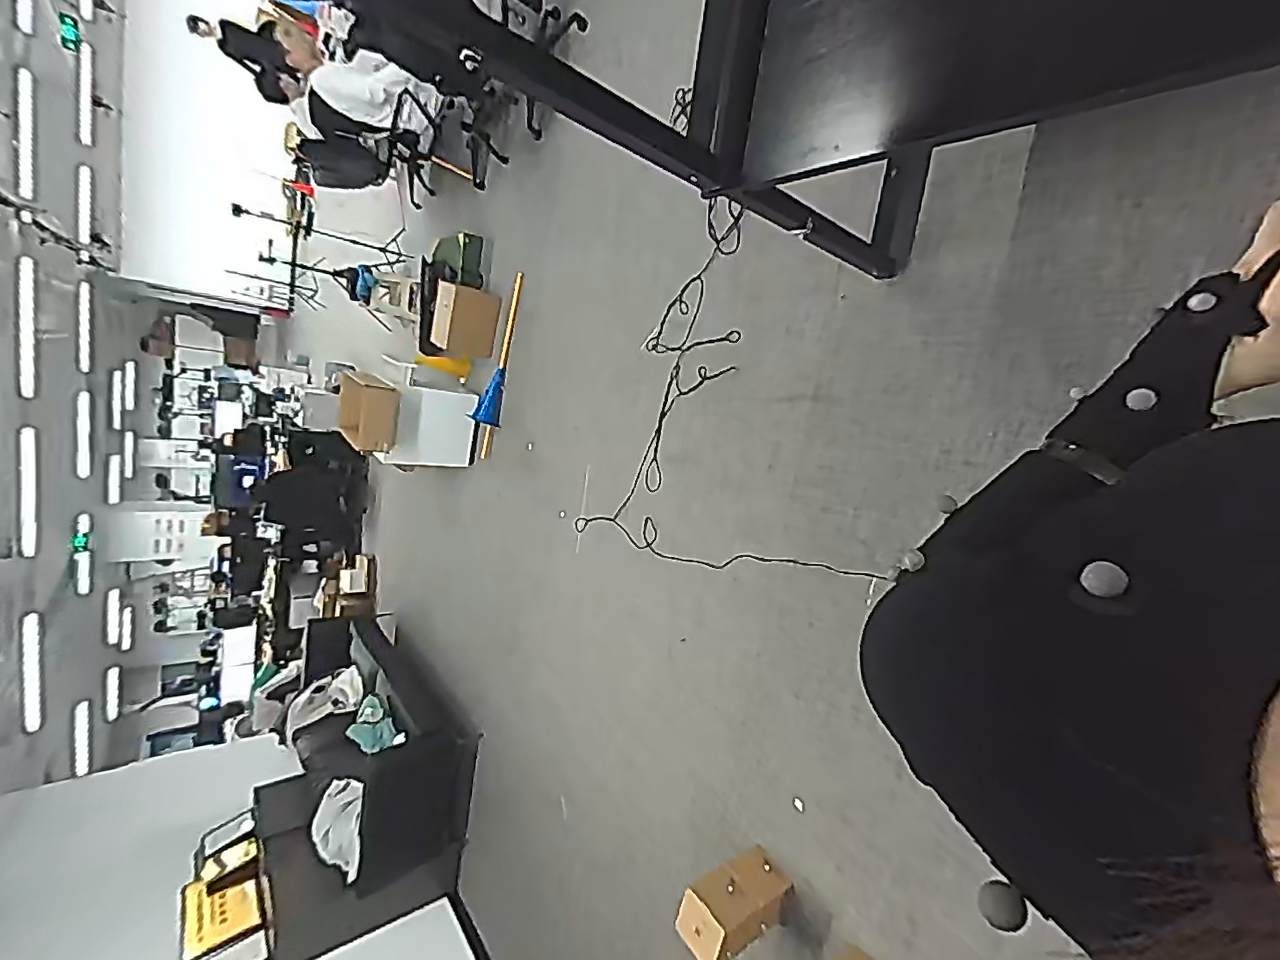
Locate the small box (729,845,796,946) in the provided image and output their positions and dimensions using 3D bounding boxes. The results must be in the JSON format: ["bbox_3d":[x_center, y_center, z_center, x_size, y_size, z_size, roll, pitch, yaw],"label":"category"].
[{"bbox_3d":[0.389,1.368,1.792,0.168,0.176,0.179,28,109,46],"label":"small box"}]

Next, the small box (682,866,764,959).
[{"bbox_3d":[0.261,1.368,1.687,0.168,0.176,0.179,25,108,46],"label":"small box"}]
